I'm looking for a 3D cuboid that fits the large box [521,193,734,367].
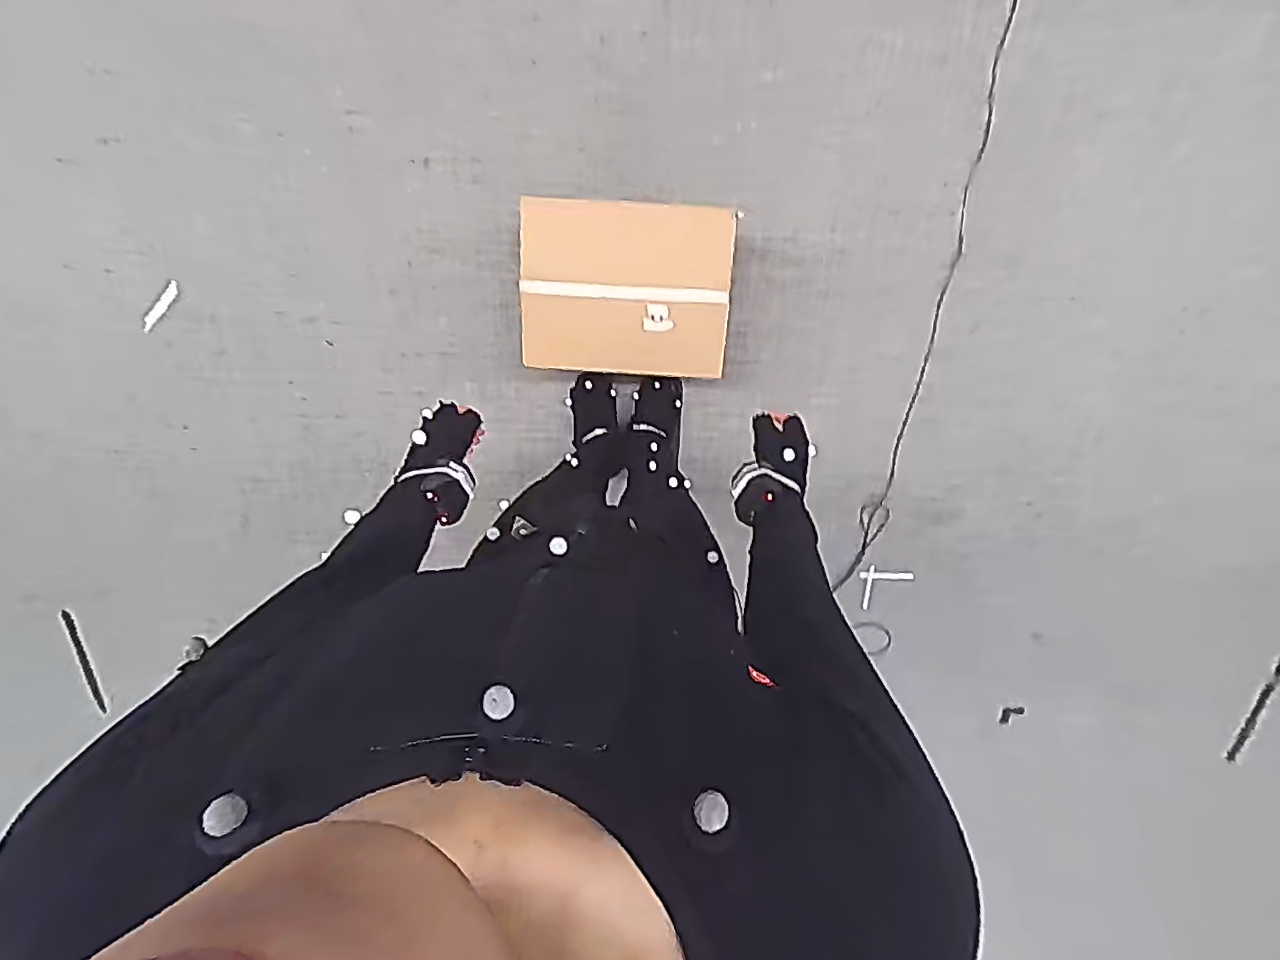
[{"bbox_3d":[-0.028,-0.428,1.192,0.408,0.320,0.320,3,110,0],"label":"large box"}]
